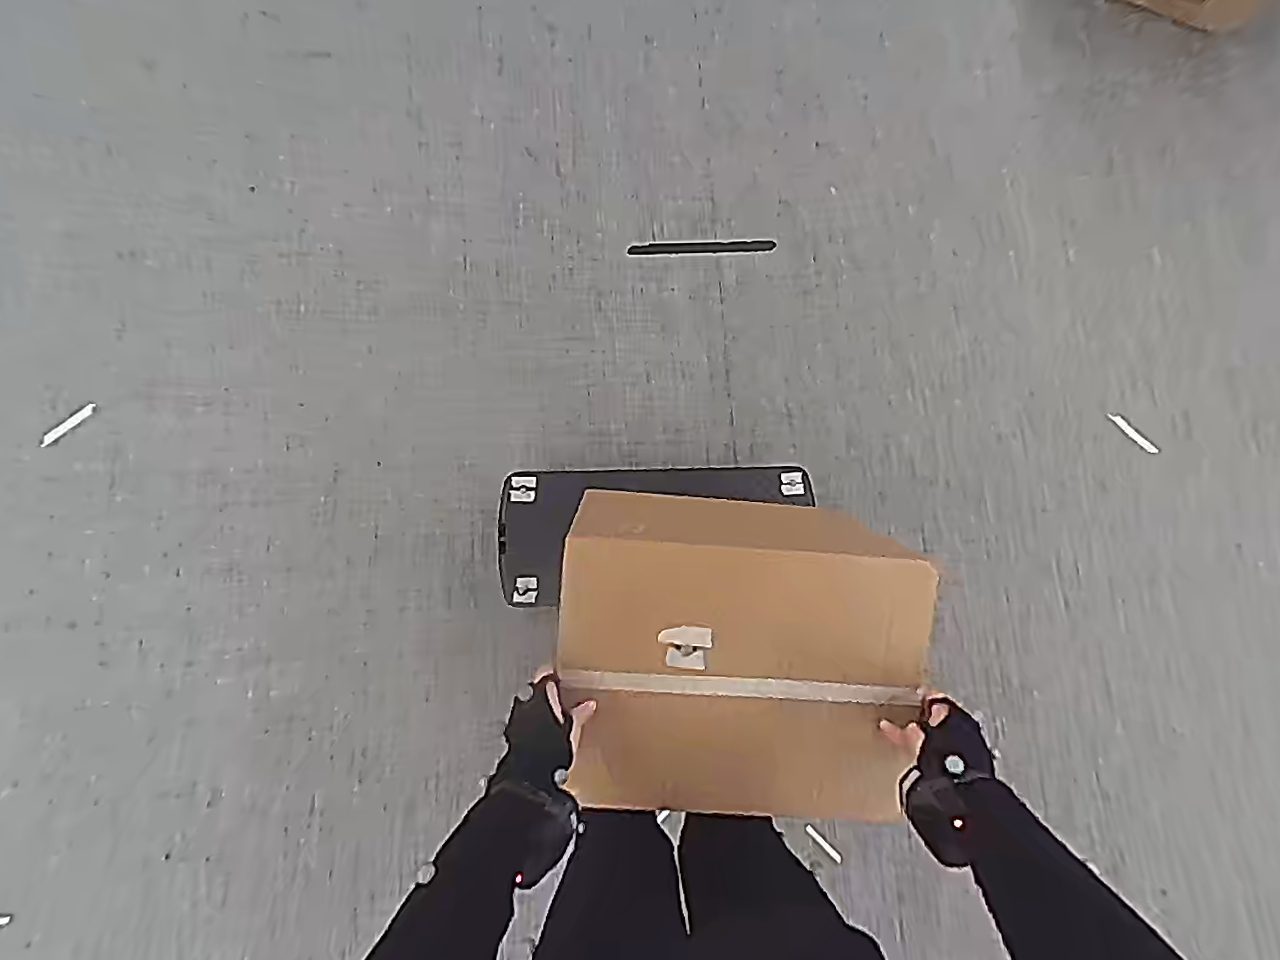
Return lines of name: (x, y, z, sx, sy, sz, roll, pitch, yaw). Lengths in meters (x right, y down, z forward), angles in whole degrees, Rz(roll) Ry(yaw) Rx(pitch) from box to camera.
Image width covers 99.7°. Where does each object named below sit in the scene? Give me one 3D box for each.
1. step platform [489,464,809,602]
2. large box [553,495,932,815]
step platform: (0.024, 0.130, 1.184, 0.684, 0.204, 0.286, 3, 81, -3)
large box: (0.108, 0.202, 0.740, 0.408, 0.320, 0.320, 4, 96, -1)
